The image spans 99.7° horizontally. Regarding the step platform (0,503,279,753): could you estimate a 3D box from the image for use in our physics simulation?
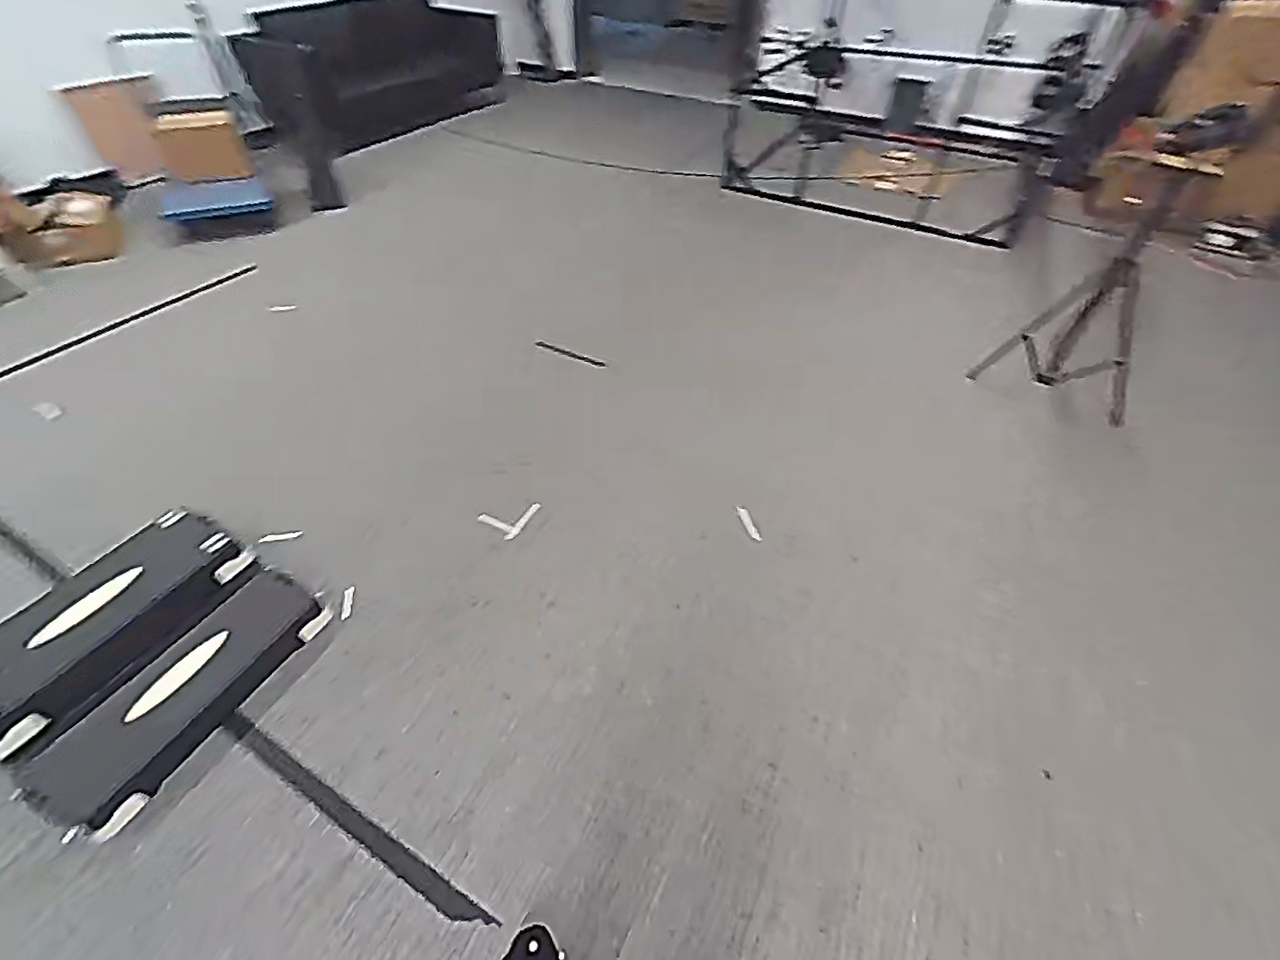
[{"bbox_3d":[-1.418,0.370,1.510,0.286,0.204,0.684,22,49,17],"label":"step platform"}]
